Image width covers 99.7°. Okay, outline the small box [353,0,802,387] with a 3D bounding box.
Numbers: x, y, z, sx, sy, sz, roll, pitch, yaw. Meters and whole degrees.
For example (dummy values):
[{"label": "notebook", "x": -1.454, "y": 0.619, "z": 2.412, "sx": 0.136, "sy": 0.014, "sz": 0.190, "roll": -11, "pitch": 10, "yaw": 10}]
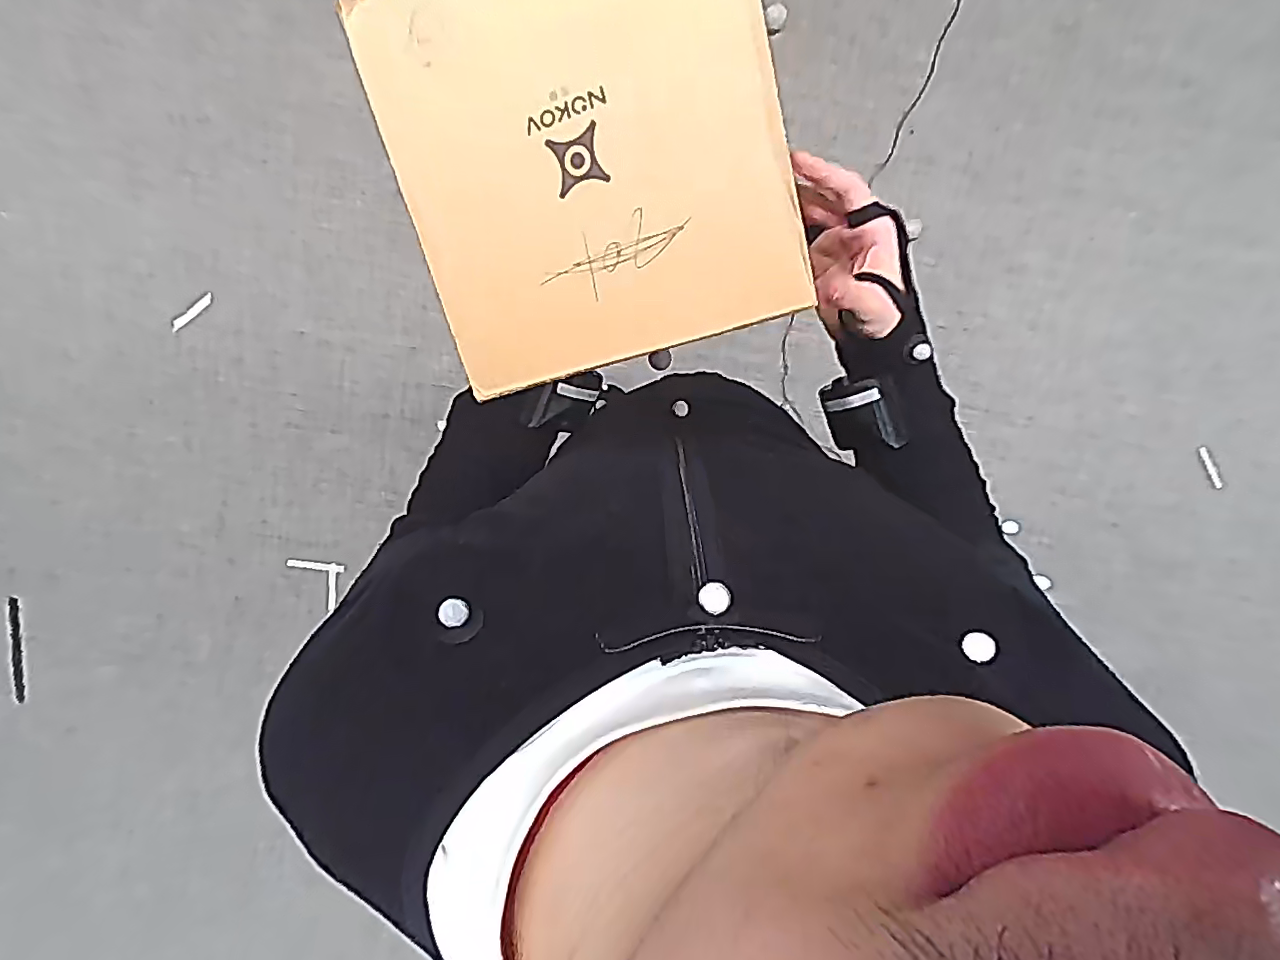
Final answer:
[{"label": "small box", "x": -0.011, "y": -0.167, "z": 0.309, "sx": 0.168, "sy": 0.176, "sz": 0.179, "roll": -12, "pitch": 106, "yaw": 16}]
